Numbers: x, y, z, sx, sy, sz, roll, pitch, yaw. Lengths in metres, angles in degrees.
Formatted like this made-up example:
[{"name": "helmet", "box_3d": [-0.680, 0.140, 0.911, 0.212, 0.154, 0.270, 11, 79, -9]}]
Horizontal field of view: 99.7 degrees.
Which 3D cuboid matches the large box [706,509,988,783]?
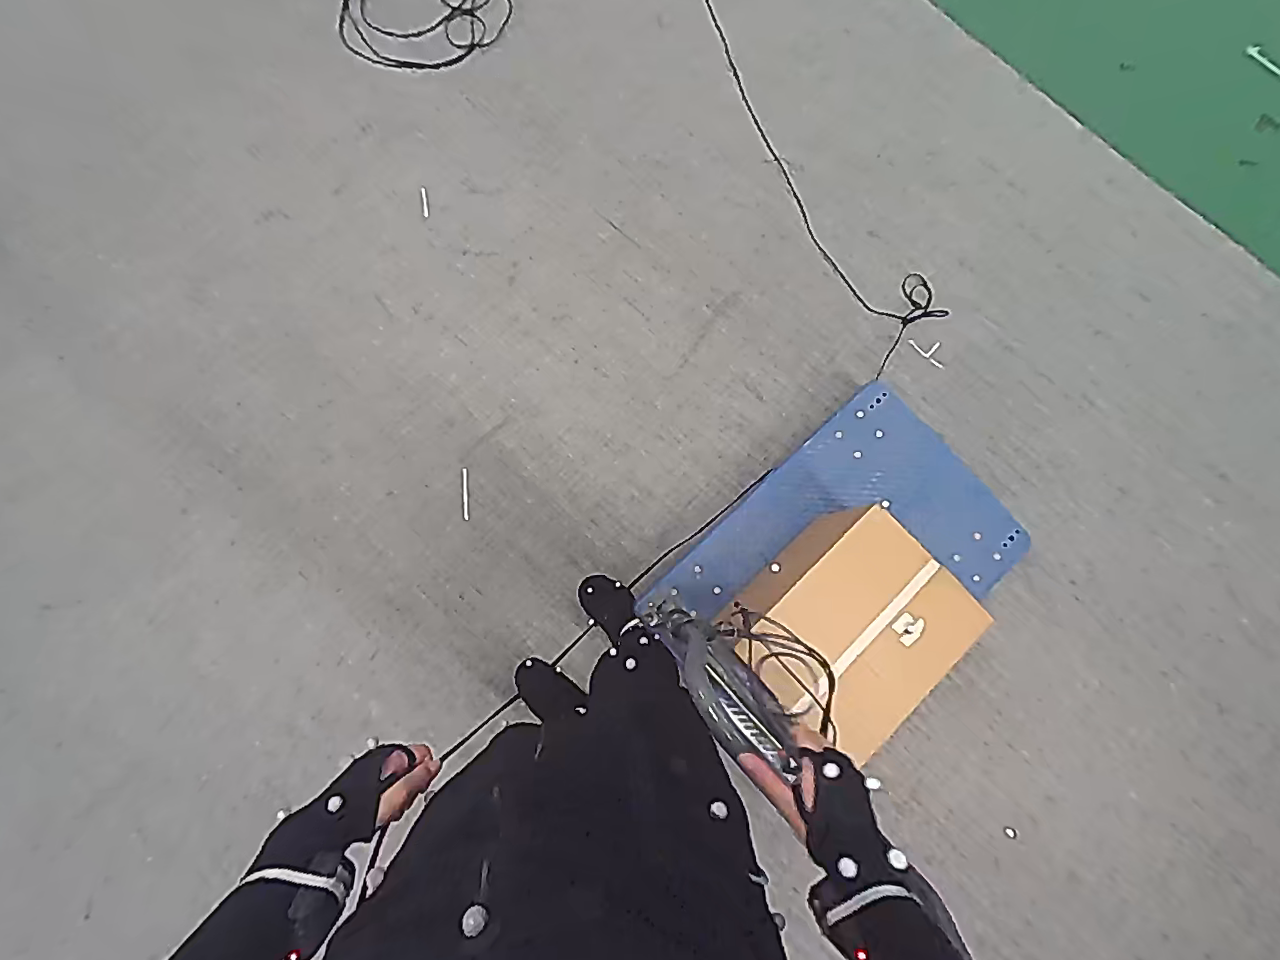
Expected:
[{"name": "large box", "box_3d": [0.403, 0.325, 1.144, 0.408, 0.320, 0.320, -42, 86, -10]}]
